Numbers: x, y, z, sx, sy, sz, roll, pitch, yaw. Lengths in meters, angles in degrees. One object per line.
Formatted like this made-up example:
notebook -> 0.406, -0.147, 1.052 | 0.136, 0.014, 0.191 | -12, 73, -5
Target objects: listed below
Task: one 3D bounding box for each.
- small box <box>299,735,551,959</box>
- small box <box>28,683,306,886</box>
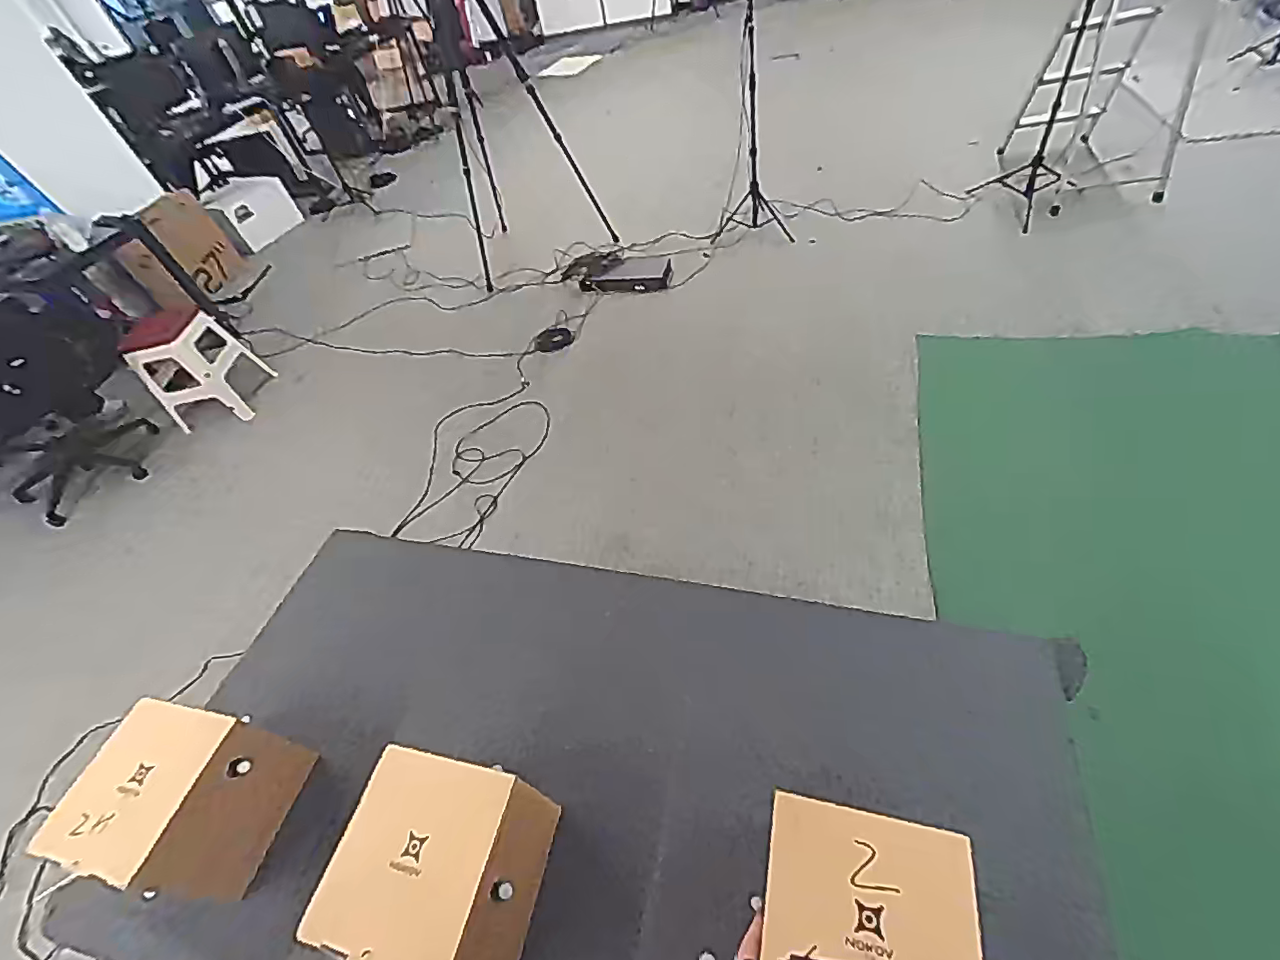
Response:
small box -> -0.212, 0.411, 0.596 | 0.168, 0.176, 0.179 | 5, 52, 16
small box -> -0.573, 0.389, 0.691 | 0.168, 0.176, 0.179 | 4, 51, 16
